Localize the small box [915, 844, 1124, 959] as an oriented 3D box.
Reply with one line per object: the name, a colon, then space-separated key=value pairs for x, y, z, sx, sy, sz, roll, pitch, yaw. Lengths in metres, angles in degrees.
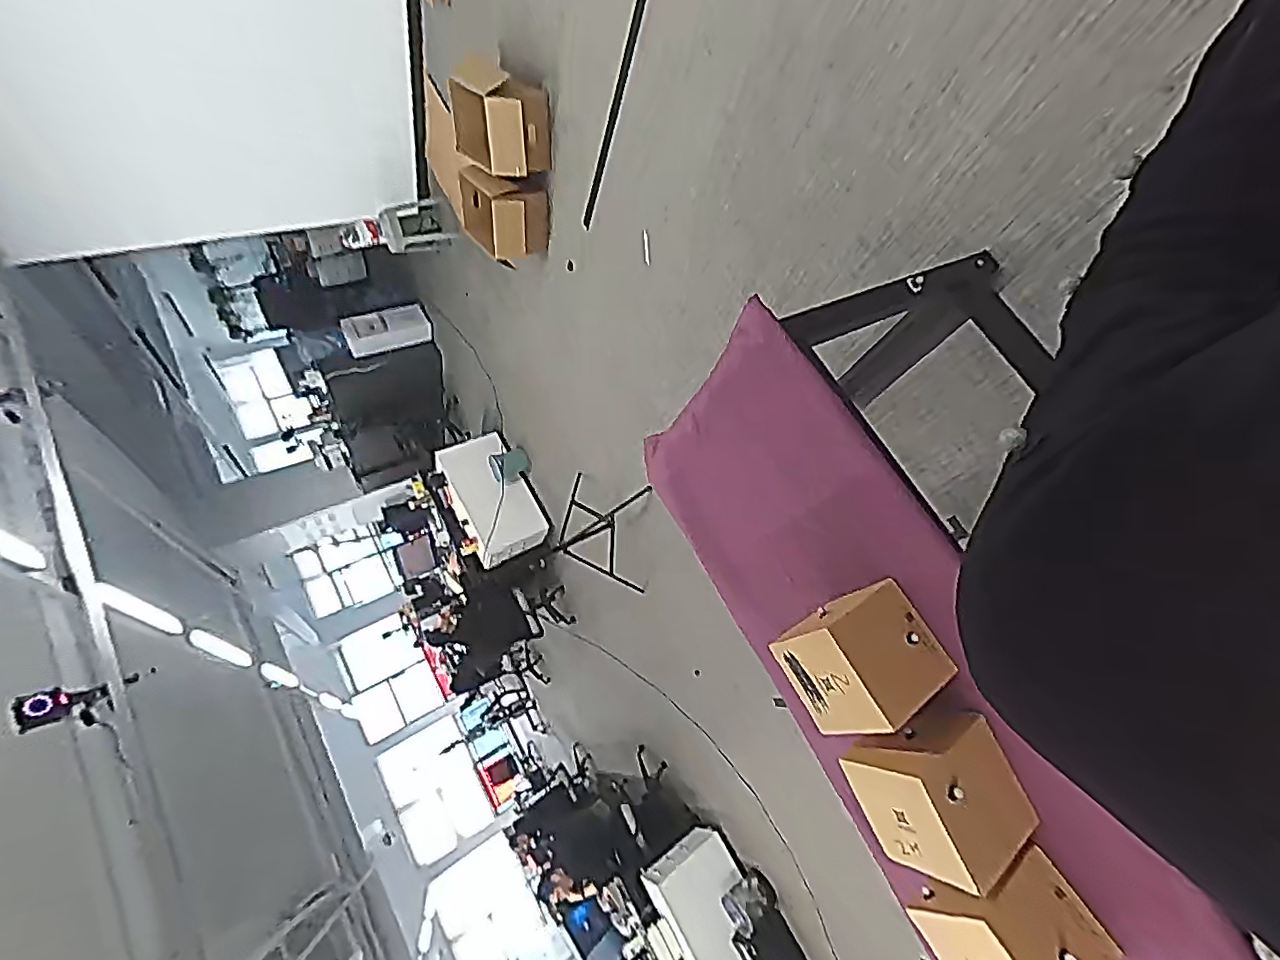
small box: x=0.571 y=0.682 z=0.814 sx=0.168 sy=0.176 sz=0.179 roll=55 pitch=150 yaw=21
